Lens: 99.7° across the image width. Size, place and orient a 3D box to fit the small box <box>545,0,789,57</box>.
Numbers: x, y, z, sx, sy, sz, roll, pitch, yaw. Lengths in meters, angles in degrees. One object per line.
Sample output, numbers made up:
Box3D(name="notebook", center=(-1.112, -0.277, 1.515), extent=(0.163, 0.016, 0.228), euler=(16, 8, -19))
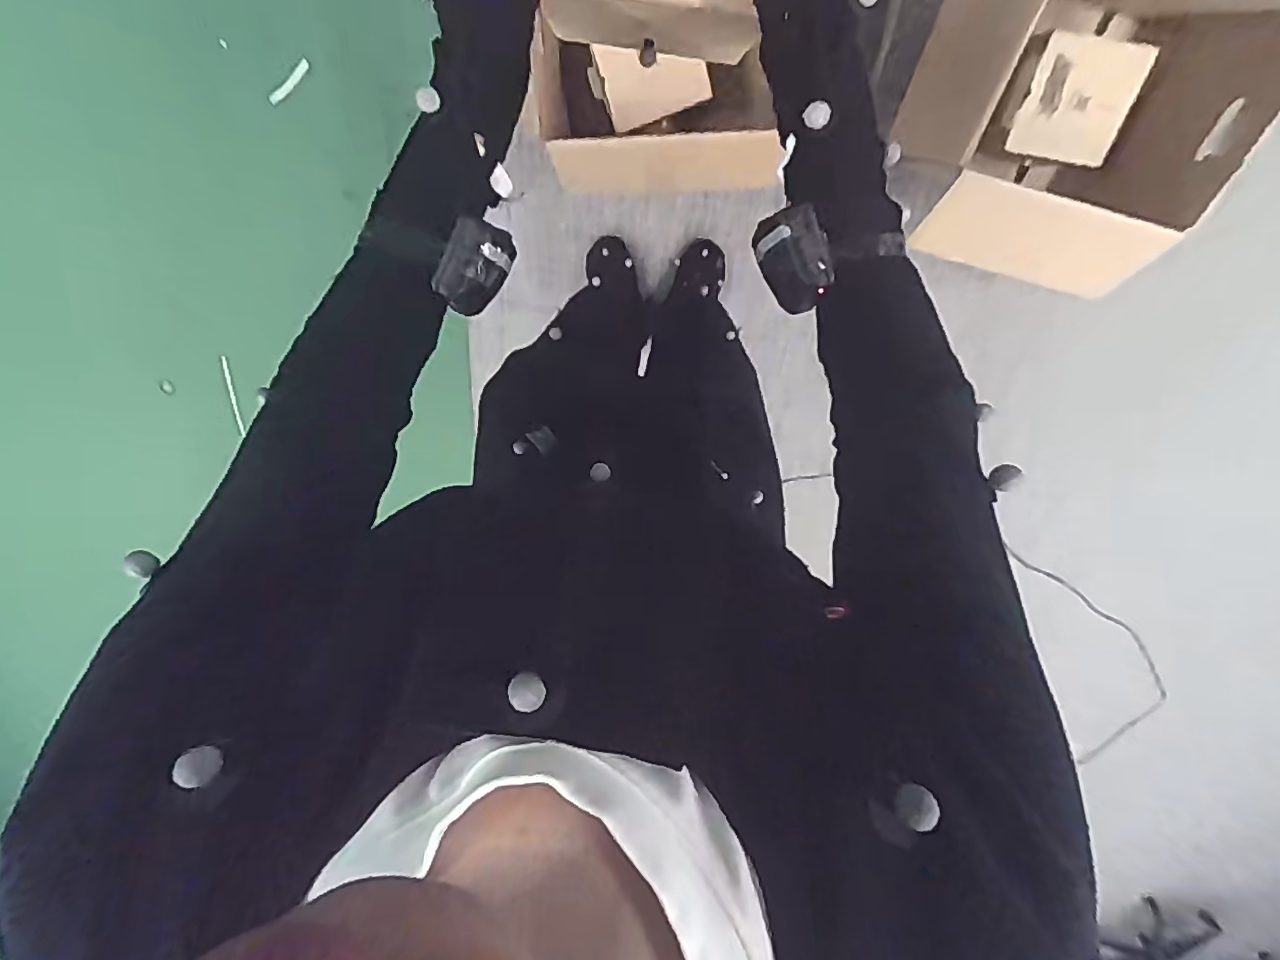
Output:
Box3D(name="small box", center=(0.022, -0.440, 0.406), extent=(0.179, 0.176, 0.168), euler=(4, 119, -3))
